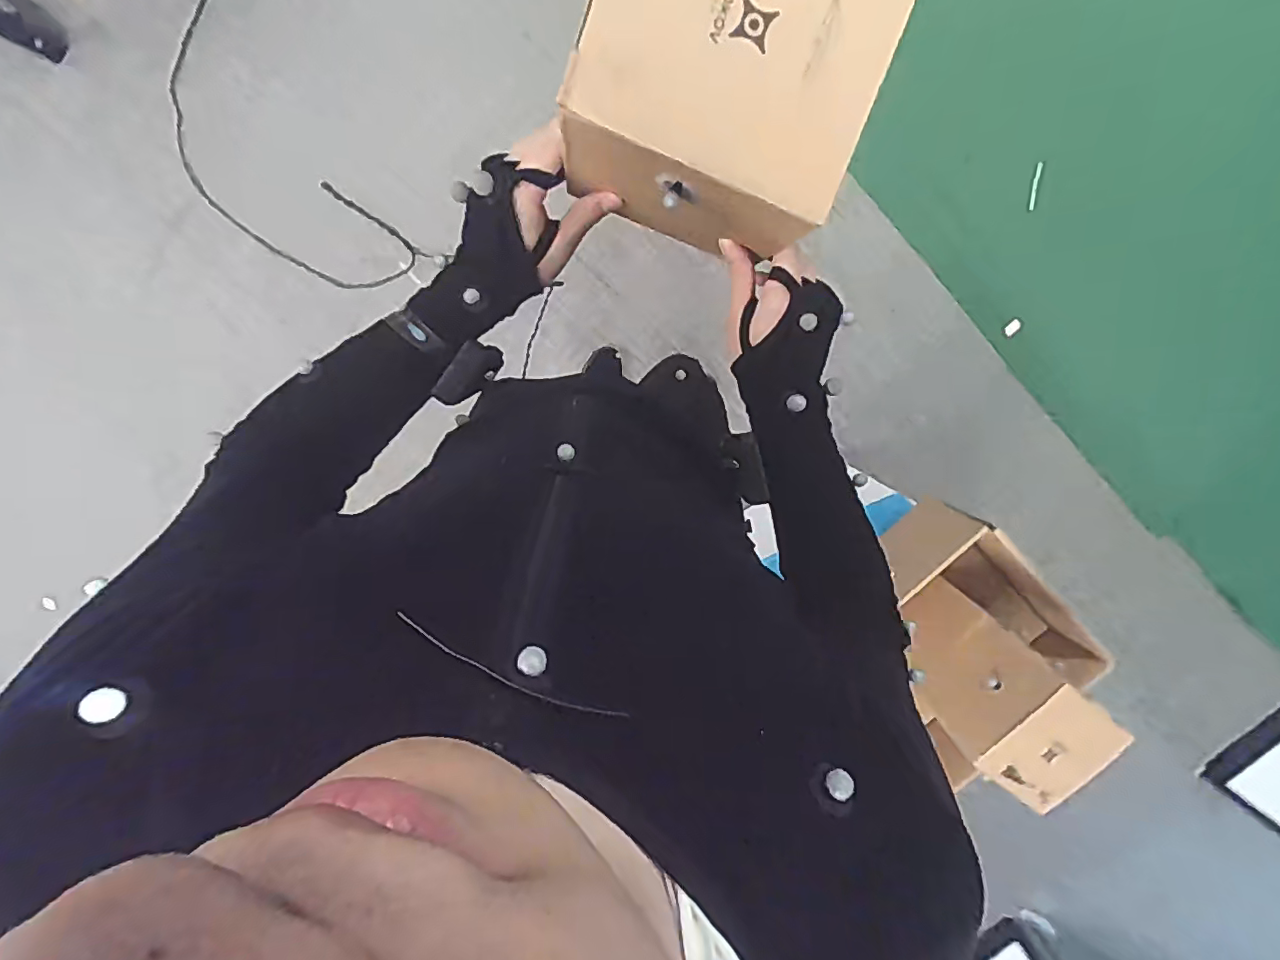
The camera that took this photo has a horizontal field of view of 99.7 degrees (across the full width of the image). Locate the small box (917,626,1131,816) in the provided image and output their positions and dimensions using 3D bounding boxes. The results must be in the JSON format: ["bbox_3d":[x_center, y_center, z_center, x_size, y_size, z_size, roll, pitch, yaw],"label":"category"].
[{"bbox_3d":[0.581,0.364,0.844,0.168,0.176,0.179,37,101,-12],"label":"small box"}]

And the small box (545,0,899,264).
[{"bbox_3d":[0.046,-0.274,0.388,0.179,0.176,0.168,19,100,-9],"label":"small box"}]
